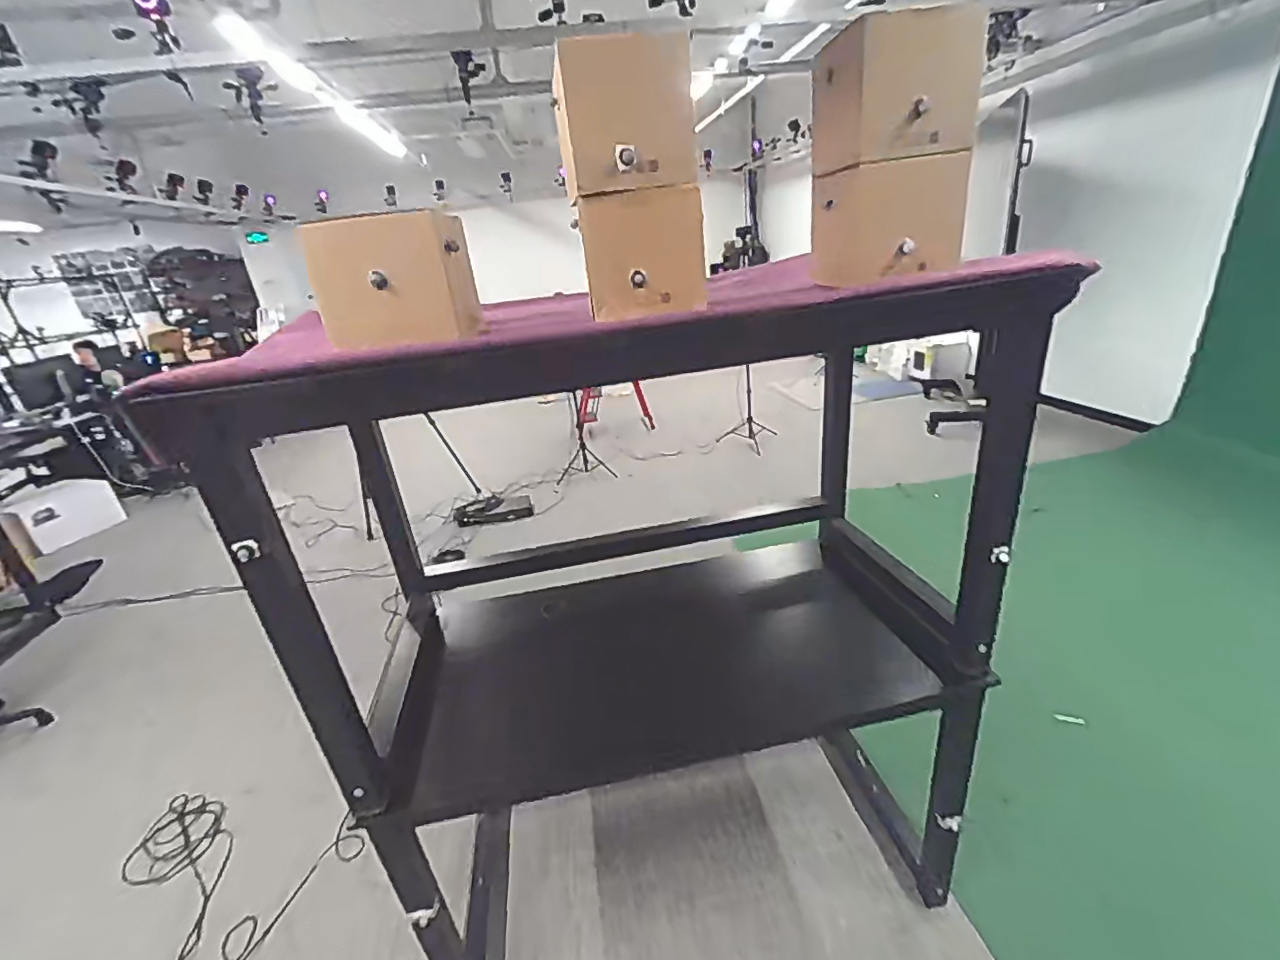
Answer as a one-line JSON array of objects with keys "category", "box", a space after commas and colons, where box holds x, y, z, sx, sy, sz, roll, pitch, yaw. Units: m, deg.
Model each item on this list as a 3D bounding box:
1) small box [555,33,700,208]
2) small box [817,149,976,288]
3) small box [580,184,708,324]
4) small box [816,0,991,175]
[{"category": "small box", "box": [-0.021, -0.480, 0.751, 0.168, 0.176, 0.179, -11, 24, -6]}, {"category": "small box", "box": [0.384, -0.399, 0.845, 0.168, 0.176, 0.179, -9, 24, -1]}, {"category": "small box", "box": [0.004, -0.334, 0.817, 0.168, 0.176, 0.179, -8, 22, -2]}, {"category": "small box", "box": [0.363, -0.550, 0.782, 0.168, 0.176, 0.179, -9, 23, -1]}]
